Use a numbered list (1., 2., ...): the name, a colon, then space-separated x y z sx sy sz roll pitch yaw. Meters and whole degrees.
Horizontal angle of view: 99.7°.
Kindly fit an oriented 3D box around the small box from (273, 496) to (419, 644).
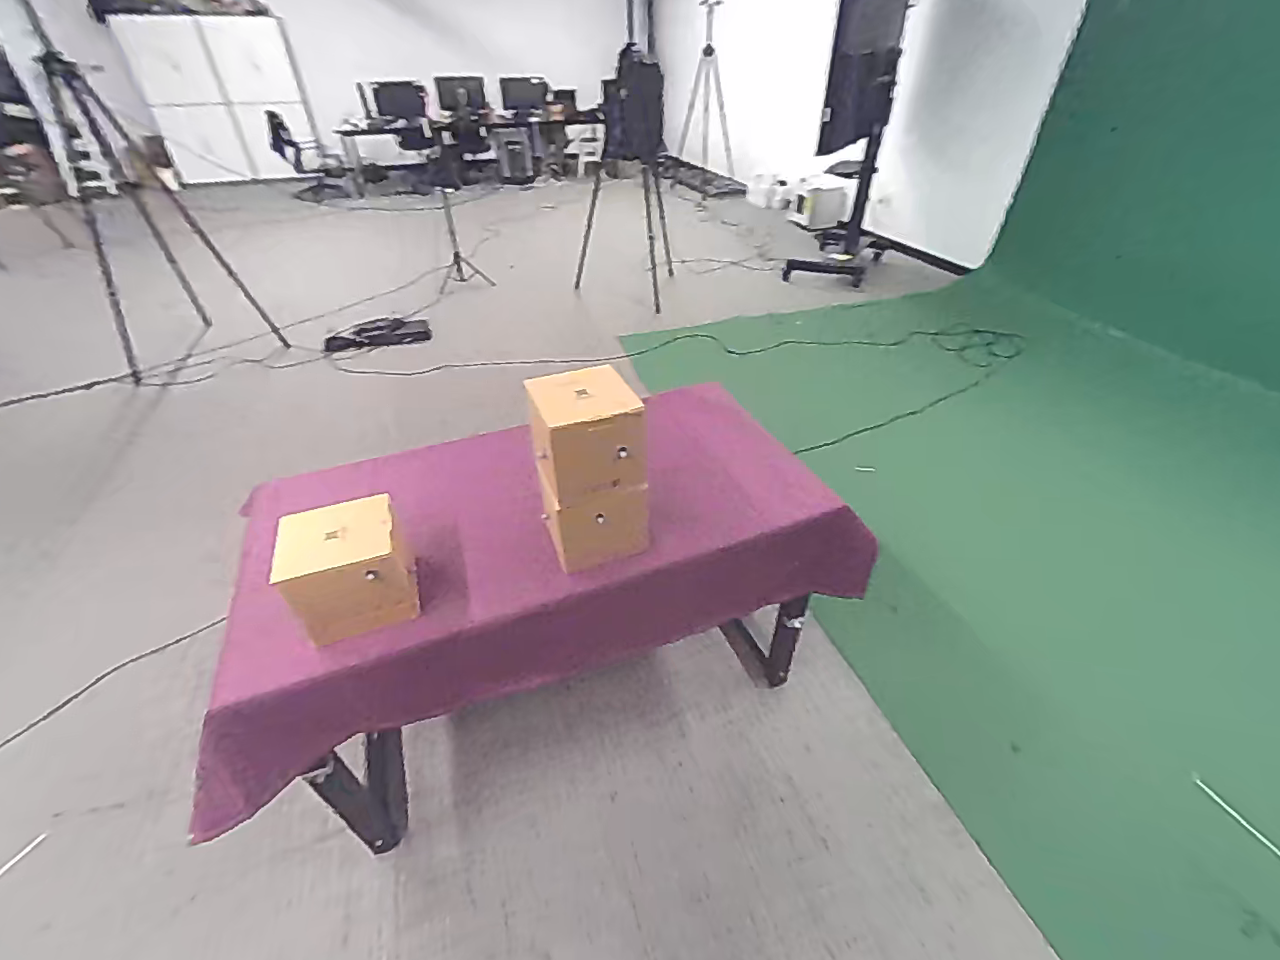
1. small box: -0.502 0.158 0.944 0.179 0.176 0.168 -14 40 -17

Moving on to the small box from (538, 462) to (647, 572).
1. small box: -0.091 0.057 1.065 0.179 0.176 0.168 -13 41 -15

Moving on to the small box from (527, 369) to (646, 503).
1. small box: -0.093 -0.075 0.969 0.168 0.176 0.179 -14 40 -17
